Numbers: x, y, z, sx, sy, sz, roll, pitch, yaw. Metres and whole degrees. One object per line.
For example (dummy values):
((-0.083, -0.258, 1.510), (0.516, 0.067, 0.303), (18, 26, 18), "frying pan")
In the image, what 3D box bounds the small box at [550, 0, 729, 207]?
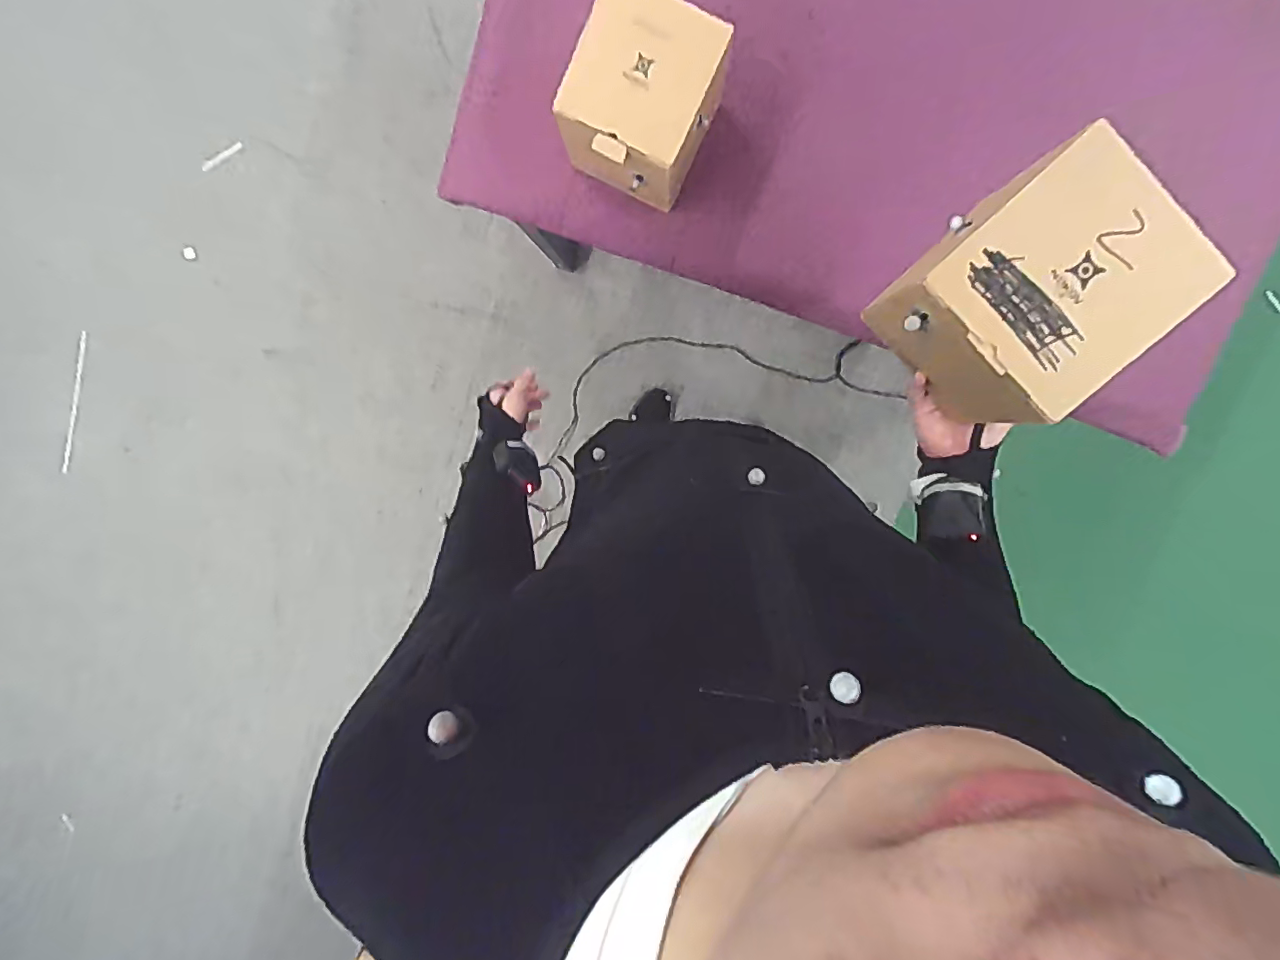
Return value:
((0.002, -0.507, 0.731), (0.168, 0.176, 0.179), (26, 98, -2), "small box")
